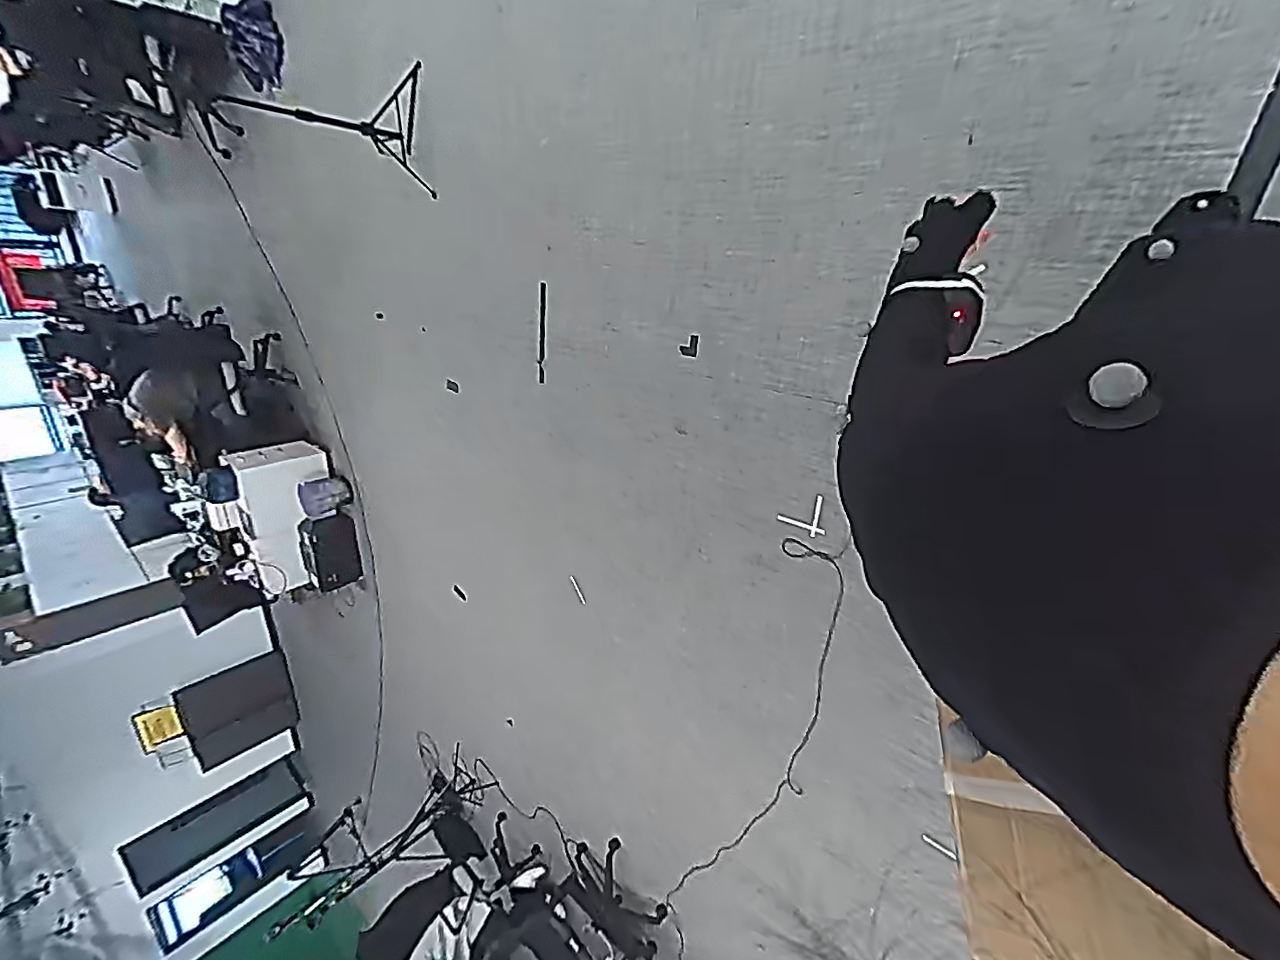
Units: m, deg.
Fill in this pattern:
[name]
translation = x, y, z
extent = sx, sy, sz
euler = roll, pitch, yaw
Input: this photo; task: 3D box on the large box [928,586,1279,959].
[large box]
translation = 0.553, 0.272, 0.551
extent = 0.408, 0.320, 0.320
euler = -8, 76, 34
